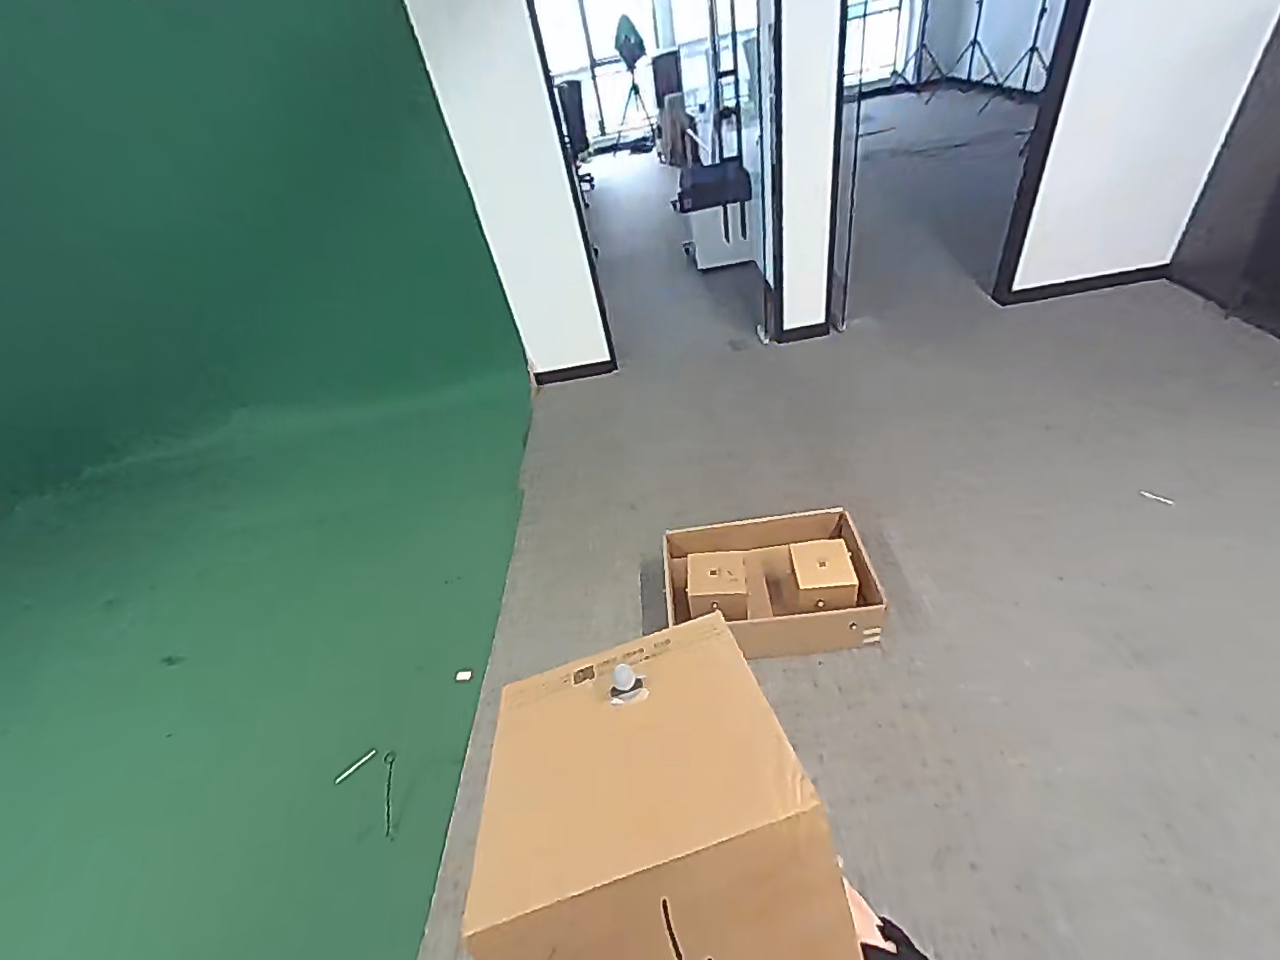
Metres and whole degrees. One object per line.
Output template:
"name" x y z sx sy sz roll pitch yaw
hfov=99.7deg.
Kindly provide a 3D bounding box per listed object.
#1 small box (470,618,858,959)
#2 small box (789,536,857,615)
"small box" 0.016 0.220 0.339 0.168 0.179 0.176 -18 17 -2
"small box" 0.556 0.299 1.655 0.168 0.176 0.179 -7 41 7
